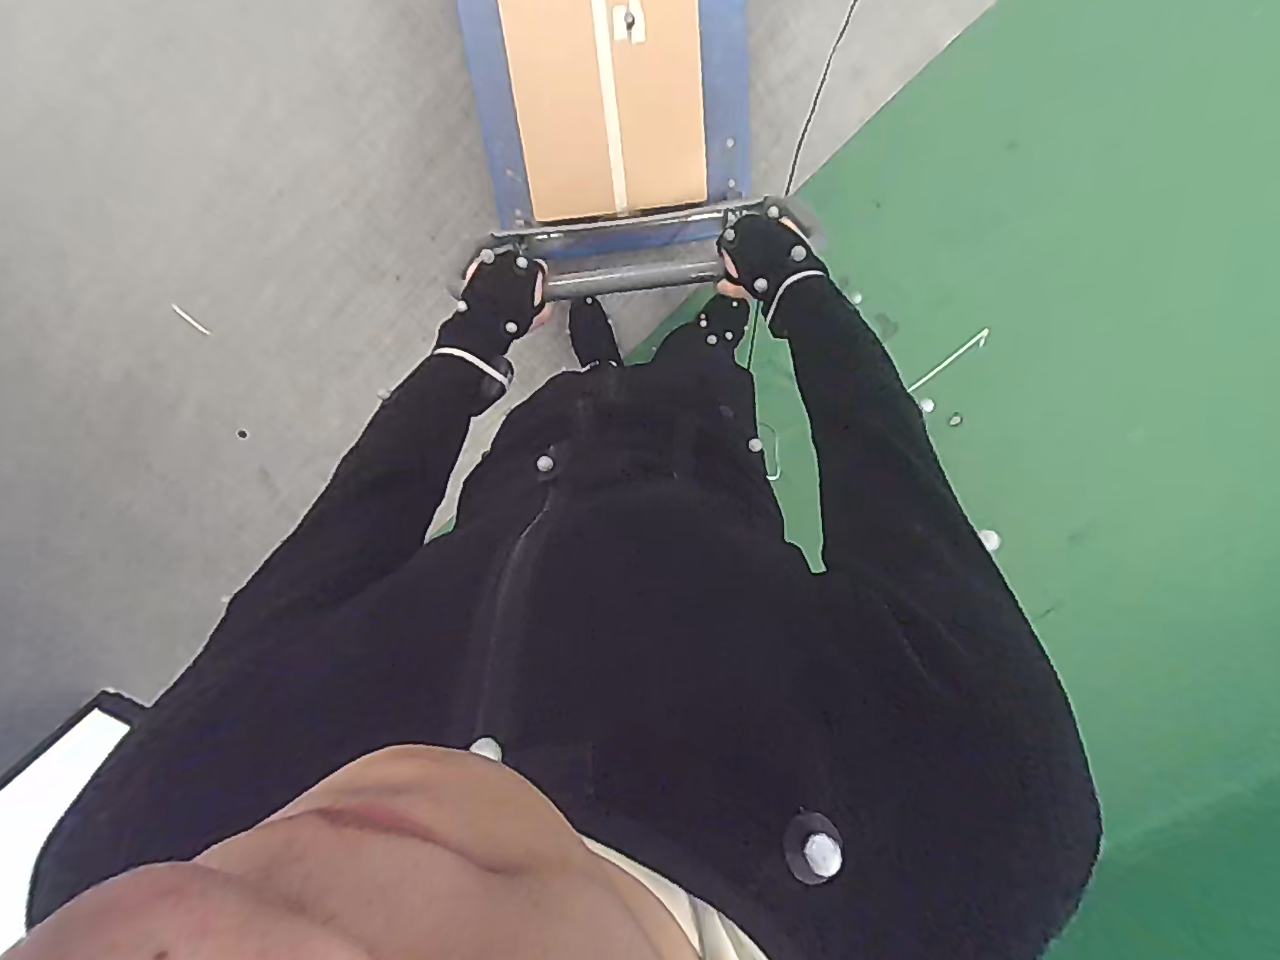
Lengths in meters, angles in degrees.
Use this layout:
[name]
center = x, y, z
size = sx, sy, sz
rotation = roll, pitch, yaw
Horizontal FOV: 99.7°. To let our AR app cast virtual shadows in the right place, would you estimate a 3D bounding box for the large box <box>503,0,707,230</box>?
[large box]
center = -0.052, -0.724, 1.043
size = 0.320, 0.320, 0.408
rotation = -6, 113, 2
